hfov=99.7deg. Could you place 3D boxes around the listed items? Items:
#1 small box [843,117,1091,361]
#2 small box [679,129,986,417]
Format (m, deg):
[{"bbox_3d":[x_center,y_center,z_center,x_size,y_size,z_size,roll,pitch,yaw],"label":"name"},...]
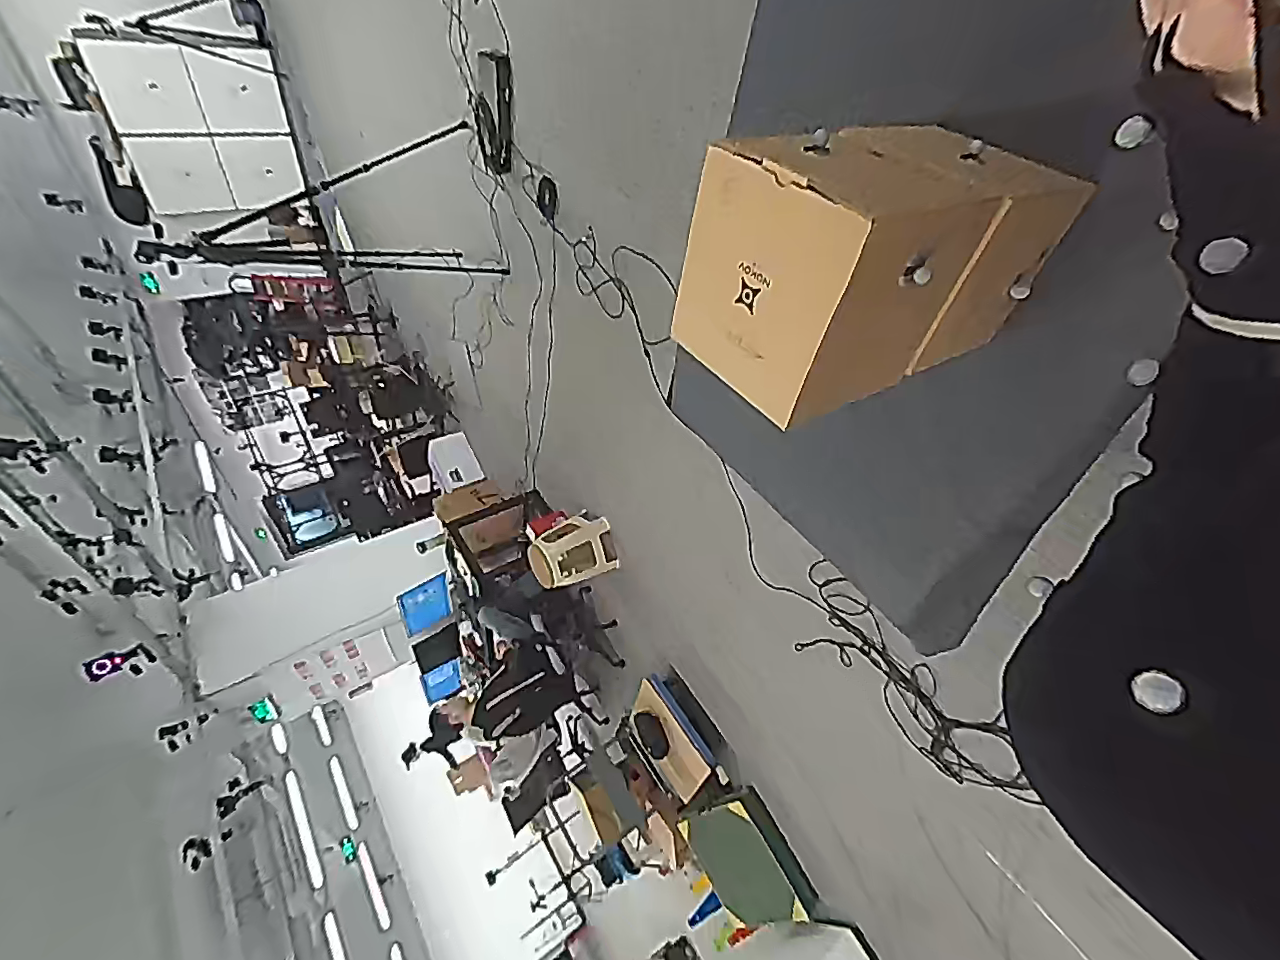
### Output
[{"bbox_3d":[0.292,-0.249,0.553,0.179,0.176,0.168,48,146,30],"label":"small box"},{"bbox_3d":[0.161,-0.190,0.478,0.168,0.176,0.179,49,147,32],"label":"small box"}]
